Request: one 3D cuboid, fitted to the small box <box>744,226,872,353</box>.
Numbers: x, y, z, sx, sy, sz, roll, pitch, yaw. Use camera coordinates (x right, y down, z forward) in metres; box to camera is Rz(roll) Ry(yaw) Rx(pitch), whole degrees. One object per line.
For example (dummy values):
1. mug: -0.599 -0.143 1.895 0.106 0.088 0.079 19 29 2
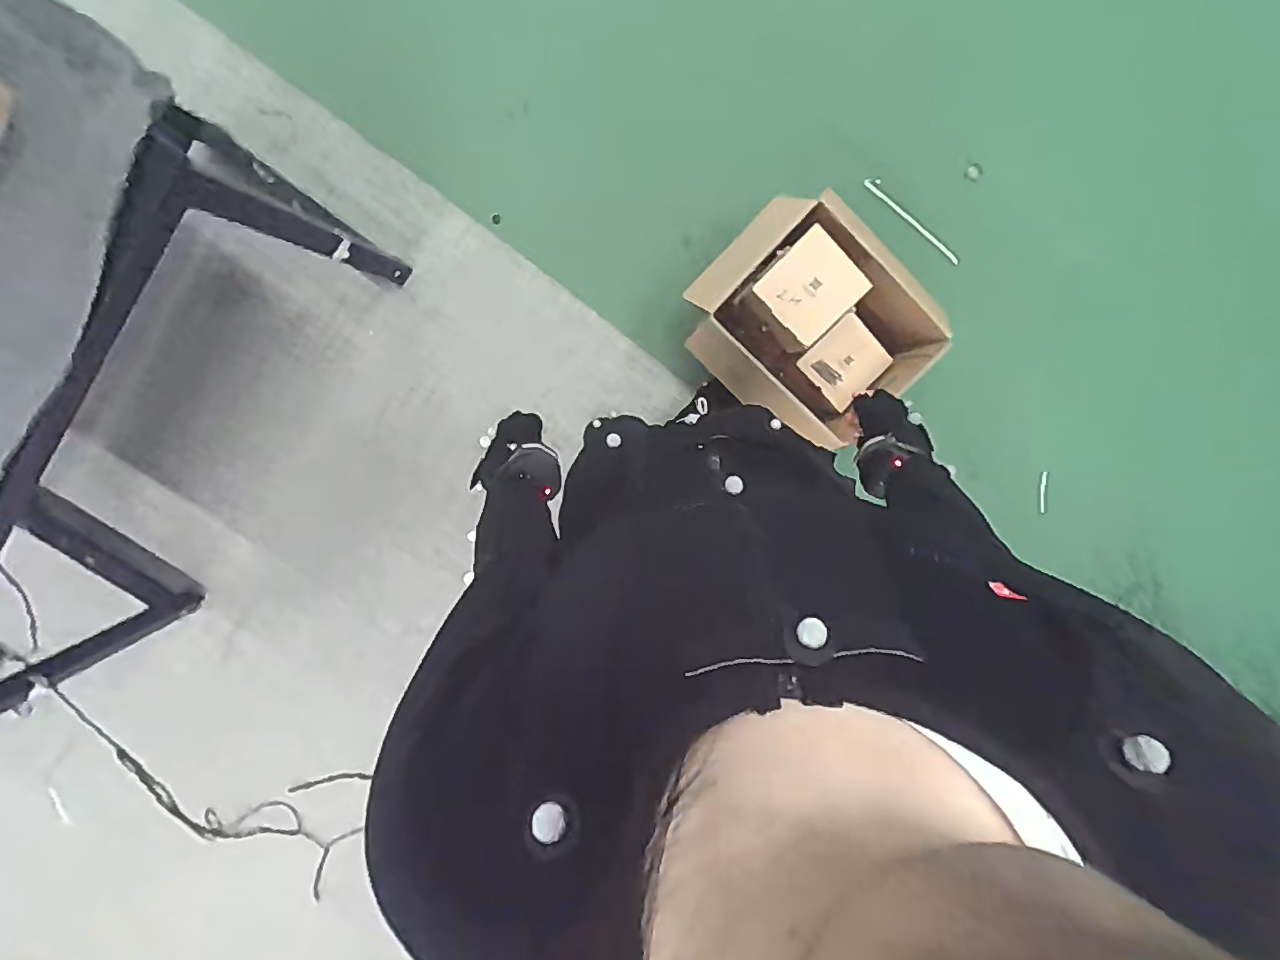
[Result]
1. small box: 0.341 -0.390 1.139 0.179 0.176 0.168 -44 96 8
